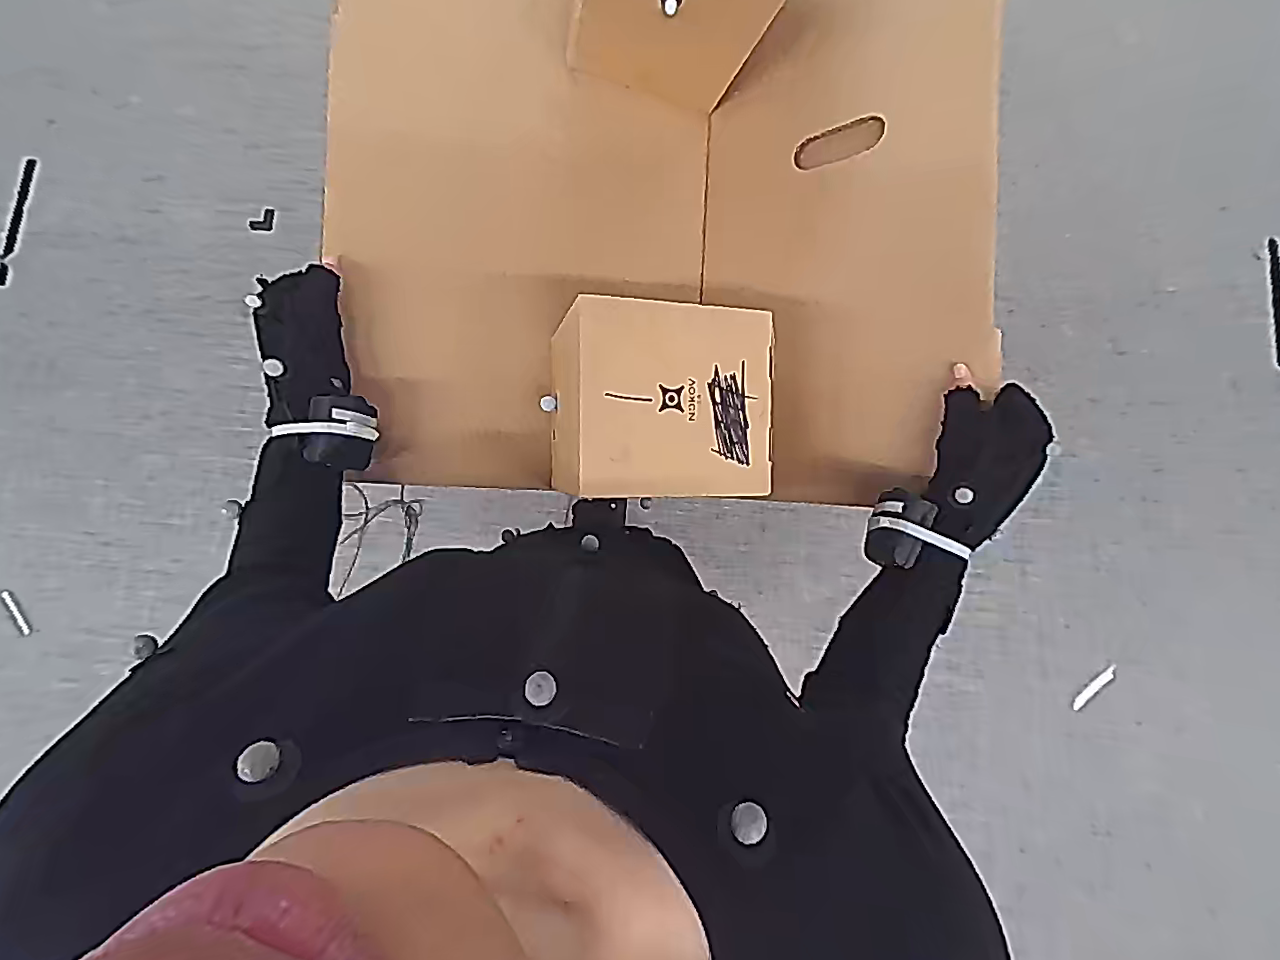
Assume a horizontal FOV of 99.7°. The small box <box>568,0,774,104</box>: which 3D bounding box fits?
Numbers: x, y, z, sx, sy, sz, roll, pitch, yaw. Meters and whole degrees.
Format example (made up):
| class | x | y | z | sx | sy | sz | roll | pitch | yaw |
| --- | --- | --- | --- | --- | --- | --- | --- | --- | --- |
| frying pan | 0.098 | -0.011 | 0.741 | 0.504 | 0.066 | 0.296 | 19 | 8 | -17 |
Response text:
| class | x | y | z | sx | sy | sz | roll | pitch | yaw |
| --- | --- | --- | --- | --- | --- | --- | --- | --- | --- |
| small box | 0.032 | -0.521 | 0.535 | 0.179 | 0.176 | 0.168 | 6 | 89 | -18 |
